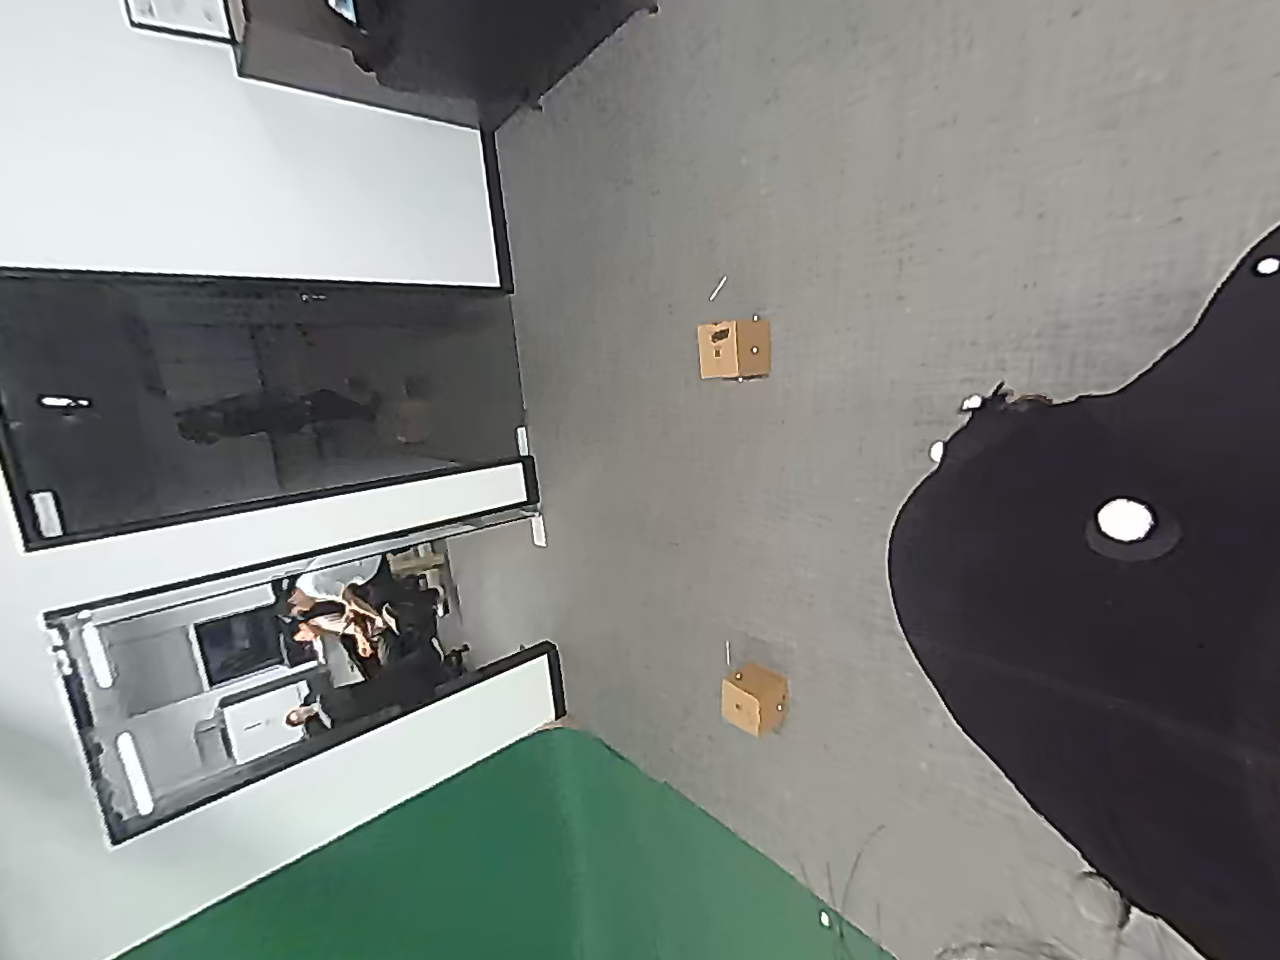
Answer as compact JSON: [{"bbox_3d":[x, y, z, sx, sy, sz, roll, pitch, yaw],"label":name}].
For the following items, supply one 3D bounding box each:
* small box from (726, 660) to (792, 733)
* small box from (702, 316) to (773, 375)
[{"bbox_3d":[0.443,0.800,2.025,0.179,0.176,0.168,16,113,48],"label":"small box"},{"bbox_3d":[0.327,-0.446,1.801,0.168,0.176,0.179,9,109,49],"label":"small box"}]
